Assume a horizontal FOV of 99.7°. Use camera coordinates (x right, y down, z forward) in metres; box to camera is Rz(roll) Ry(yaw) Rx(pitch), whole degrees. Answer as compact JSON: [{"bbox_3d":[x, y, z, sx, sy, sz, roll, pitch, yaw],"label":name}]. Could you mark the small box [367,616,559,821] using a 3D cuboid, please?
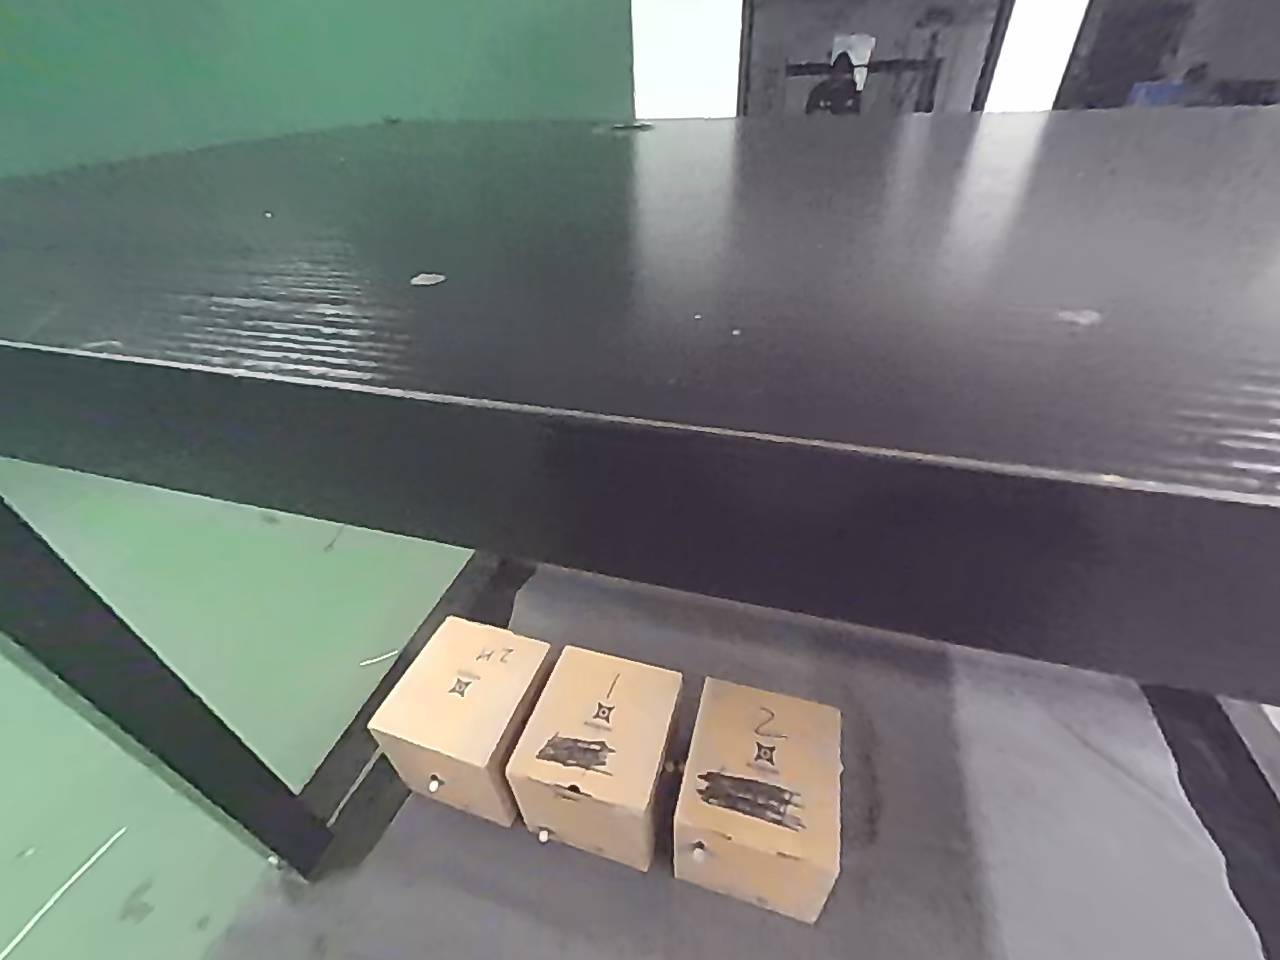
[{"bbox_3d":[-0.220,0.321,0.731,0.168,0.176,0.179,11,39,15],"label":"small box"}]
